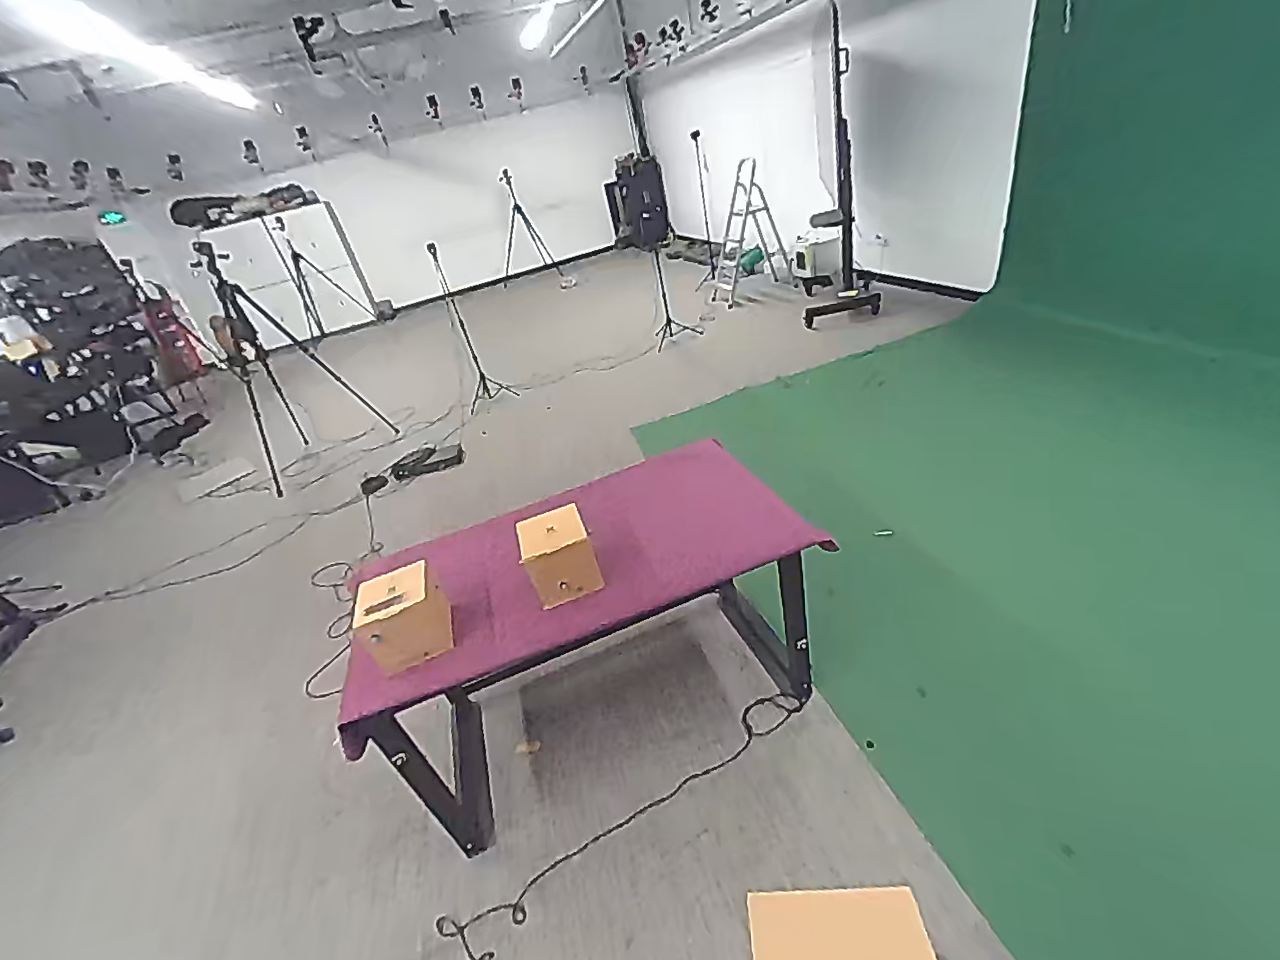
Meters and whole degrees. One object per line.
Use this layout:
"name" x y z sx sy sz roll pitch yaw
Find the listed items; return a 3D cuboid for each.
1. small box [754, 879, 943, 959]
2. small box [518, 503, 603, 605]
"small box" 0.204 0.520 0.508 0.168 0.176 0.179 -9 22 9
"small box" -0.207 0.191 1.403 0.168 0.176 0.179 -19 32 -9
